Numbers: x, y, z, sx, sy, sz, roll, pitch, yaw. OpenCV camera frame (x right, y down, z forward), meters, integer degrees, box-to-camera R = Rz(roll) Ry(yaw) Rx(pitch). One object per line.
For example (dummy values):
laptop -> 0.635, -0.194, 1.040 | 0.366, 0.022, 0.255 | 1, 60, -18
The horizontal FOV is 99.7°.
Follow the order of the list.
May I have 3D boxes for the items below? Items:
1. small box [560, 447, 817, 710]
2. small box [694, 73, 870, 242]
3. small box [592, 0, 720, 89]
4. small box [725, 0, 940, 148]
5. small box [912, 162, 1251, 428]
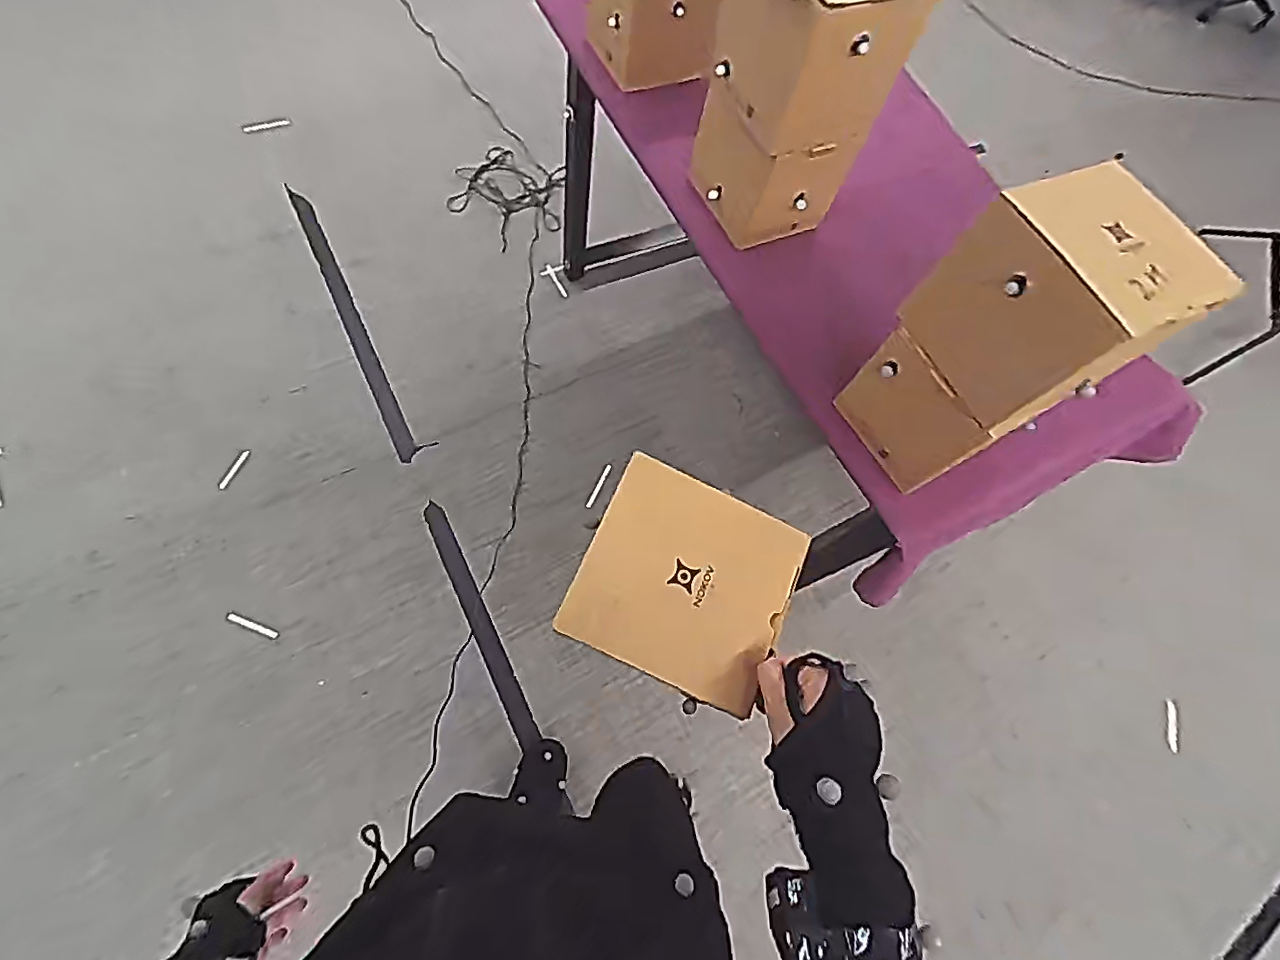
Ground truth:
small box -> 0.033, 0.098, 0.521 | 0.179, 0.176, 0.168 | 26, 73, -3
small box -> 0.205, -0.495, 0.832 | 0.168, 0.176, 0.179 | -23, 74, -17
small box -> 0.024, -0.816, 0.934 | 0.179, 0.176, 0.168 | -23, 75, -18
small box -> 0.224, -0.552, 0.677 | 0.179, 0.176, 0.168 | -22, 73, -17
small box -> 0.428, -0.184, 0.559 | 0.168, 0.176, 0.179 | -21, 72, -17
